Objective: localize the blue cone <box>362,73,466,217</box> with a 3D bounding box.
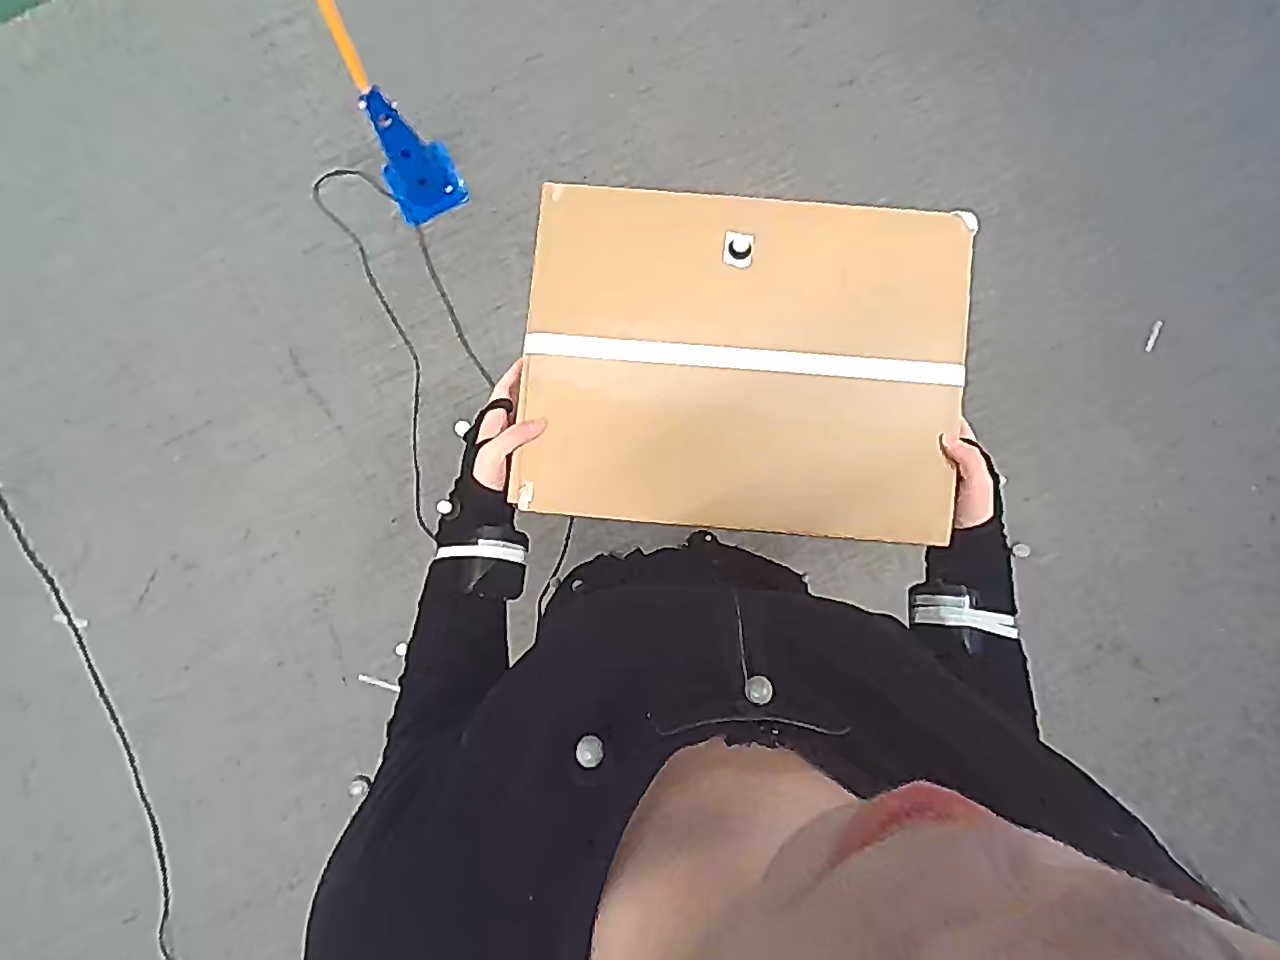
[{"bbox_3d":[-0.603,-0.869,1.363,0.193,0.380,0.192,-29,88,-3],"label":"blue cone"}]
